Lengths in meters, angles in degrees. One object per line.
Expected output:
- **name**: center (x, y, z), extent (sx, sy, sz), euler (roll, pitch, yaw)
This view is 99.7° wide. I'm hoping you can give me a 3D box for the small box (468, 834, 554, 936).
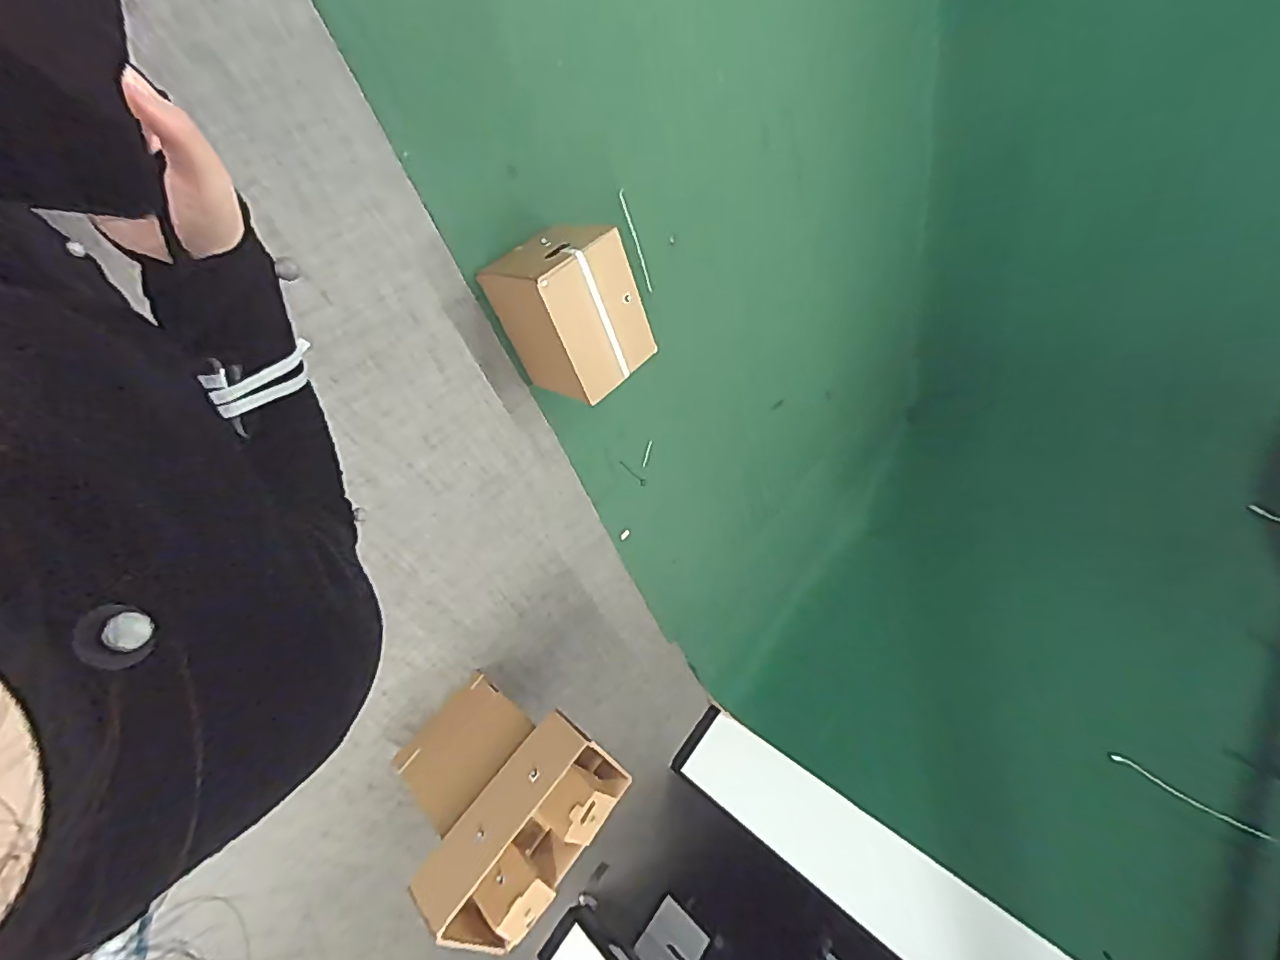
- **small box**: center (-0.401, 1.242, 1.671), extent (0.168, 0.176, 0.179), euler (-41, 133, -27)
